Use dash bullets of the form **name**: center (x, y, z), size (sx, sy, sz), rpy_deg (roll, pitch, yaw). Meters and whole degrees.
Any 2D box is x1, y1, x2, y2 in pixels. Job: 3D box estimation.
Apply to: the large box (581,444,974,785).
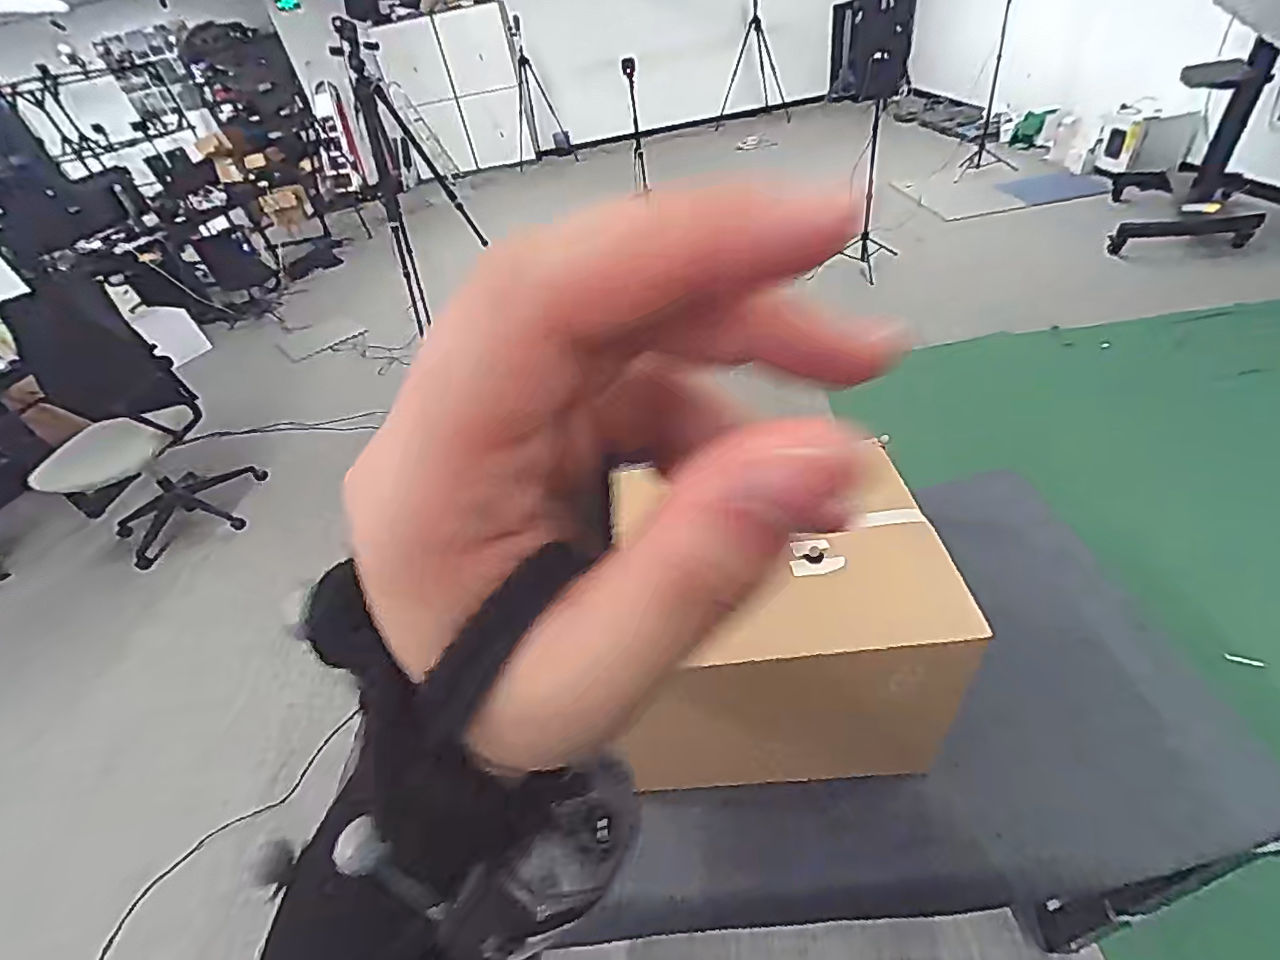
- **large box**: center (0.150, 0.187, 0.748), size (0.408, 0.320, 0.320), rpy_deg (-7, 41, 5)
